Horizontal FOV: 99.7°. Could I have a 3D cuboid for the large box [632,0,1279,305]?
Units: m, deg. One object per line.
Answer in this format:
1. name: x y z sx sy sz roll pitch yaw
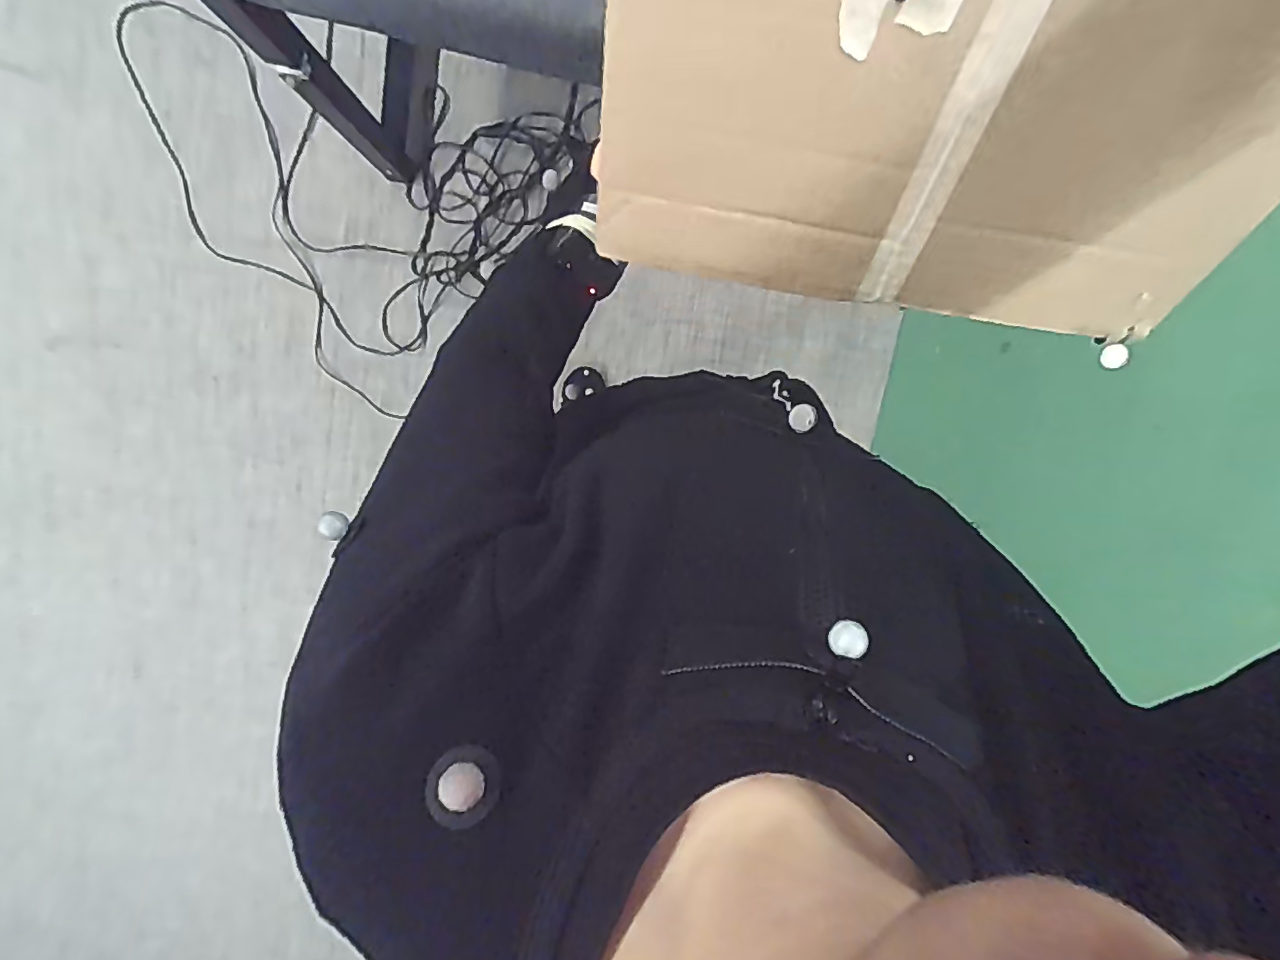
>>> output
1. large box: 0.175 -0.360 0.256 0.320 0.320 0.408 8 142 0
